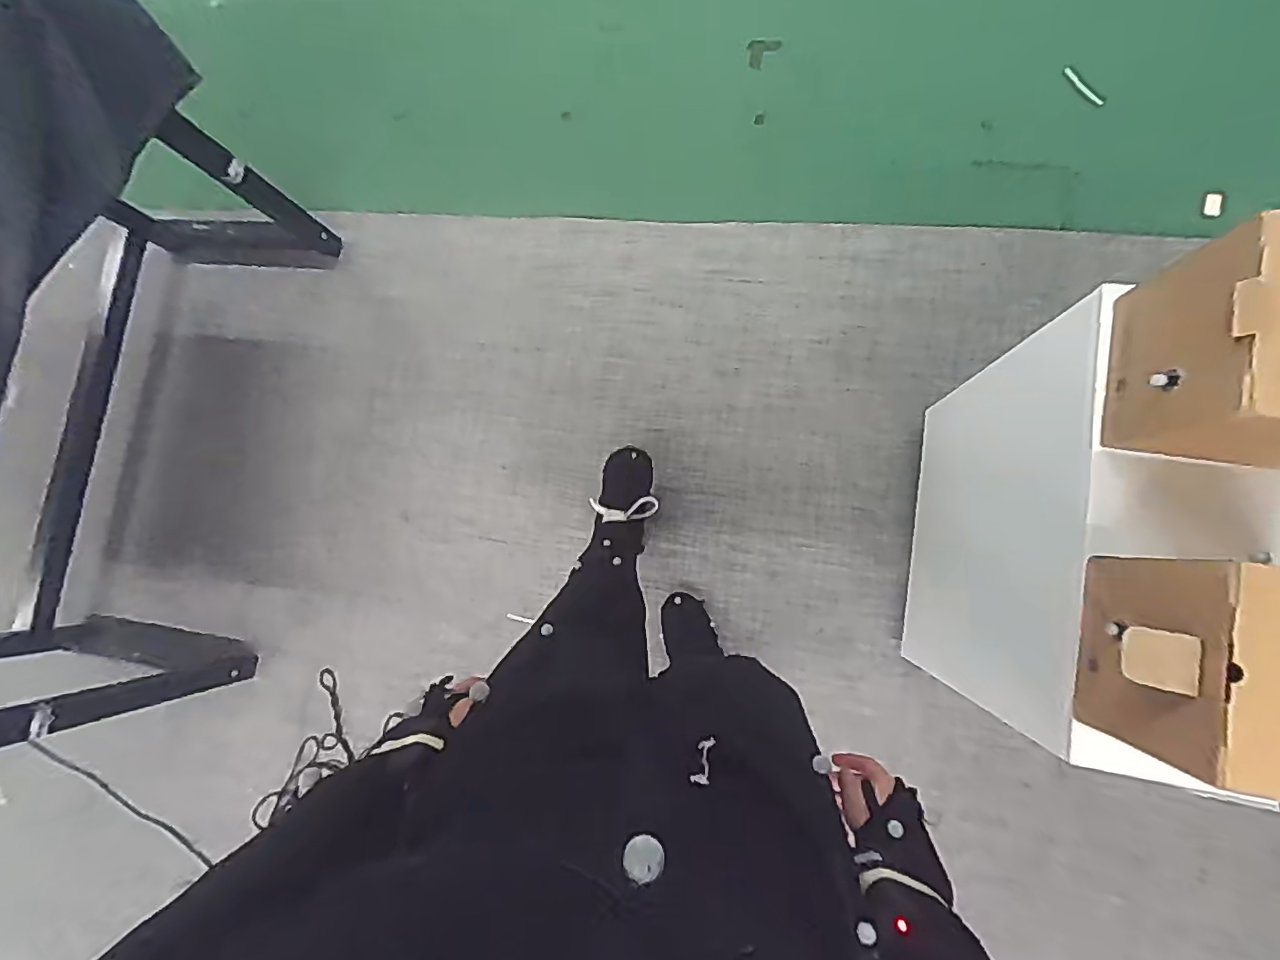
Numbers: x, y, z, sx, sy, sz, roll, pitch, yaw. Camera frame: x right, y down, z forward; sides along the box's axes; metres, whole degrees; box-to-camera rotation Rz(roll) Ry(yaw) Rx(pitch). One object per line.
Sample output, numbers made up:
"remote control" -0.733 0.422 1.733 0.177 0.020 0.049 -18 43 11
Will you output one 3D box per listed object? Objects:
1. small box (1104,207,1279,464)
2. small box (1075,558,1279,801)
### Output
"small box" 0.563 -0.112 0.478 0.179 0.176 0.168 8 86 9
"small box" 0.517 0.159 0.450 0.179 0.176 0.168 8 84 11
